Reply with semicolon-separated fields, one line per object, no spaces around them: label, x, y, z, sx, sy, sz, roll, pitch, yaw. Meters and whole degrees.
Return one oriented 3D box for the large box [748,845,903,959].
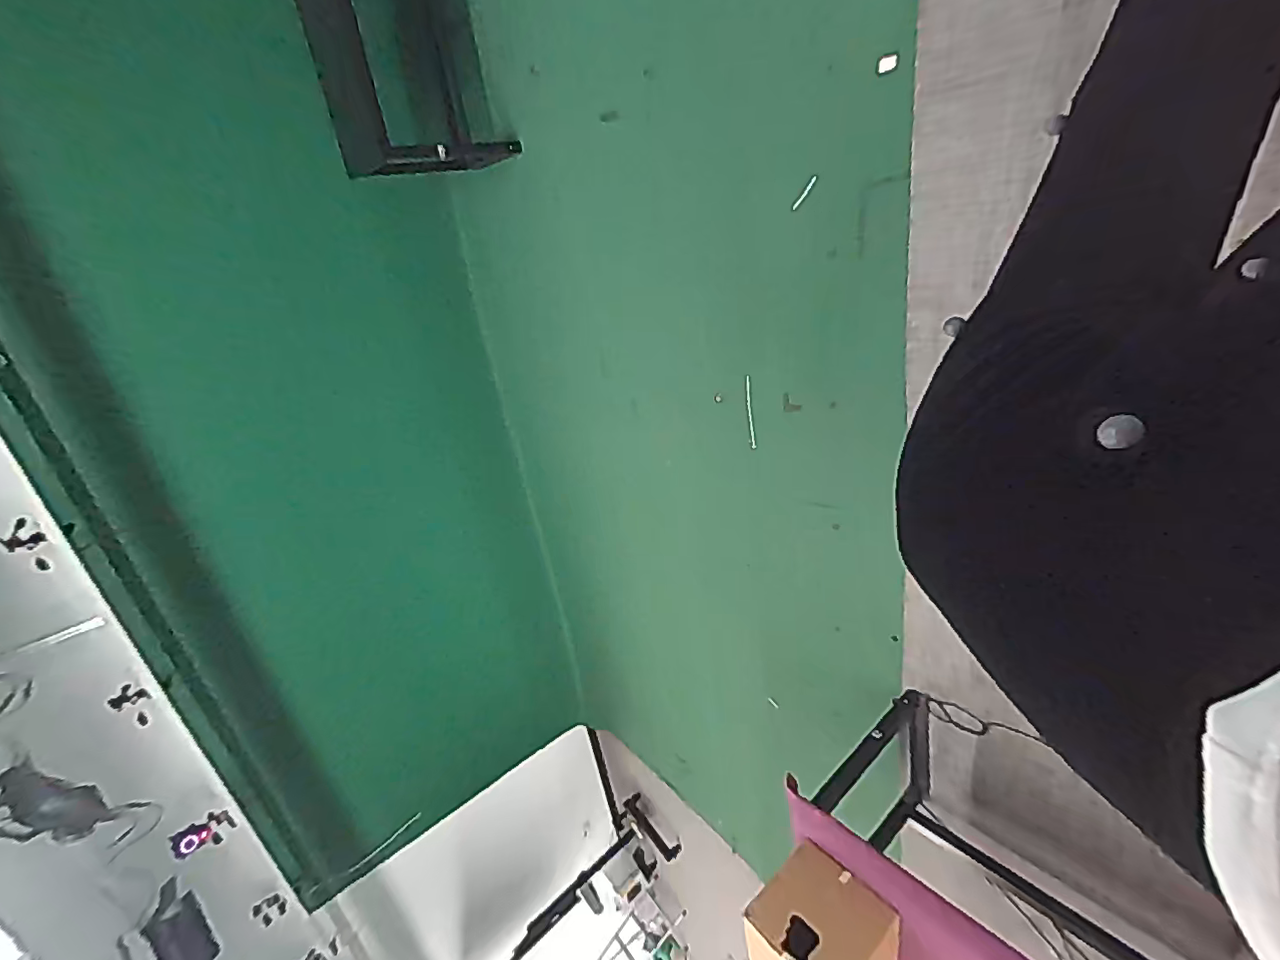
large box;0.552;1.410;1.588;0.320;0.320;0.408;16;123;48
